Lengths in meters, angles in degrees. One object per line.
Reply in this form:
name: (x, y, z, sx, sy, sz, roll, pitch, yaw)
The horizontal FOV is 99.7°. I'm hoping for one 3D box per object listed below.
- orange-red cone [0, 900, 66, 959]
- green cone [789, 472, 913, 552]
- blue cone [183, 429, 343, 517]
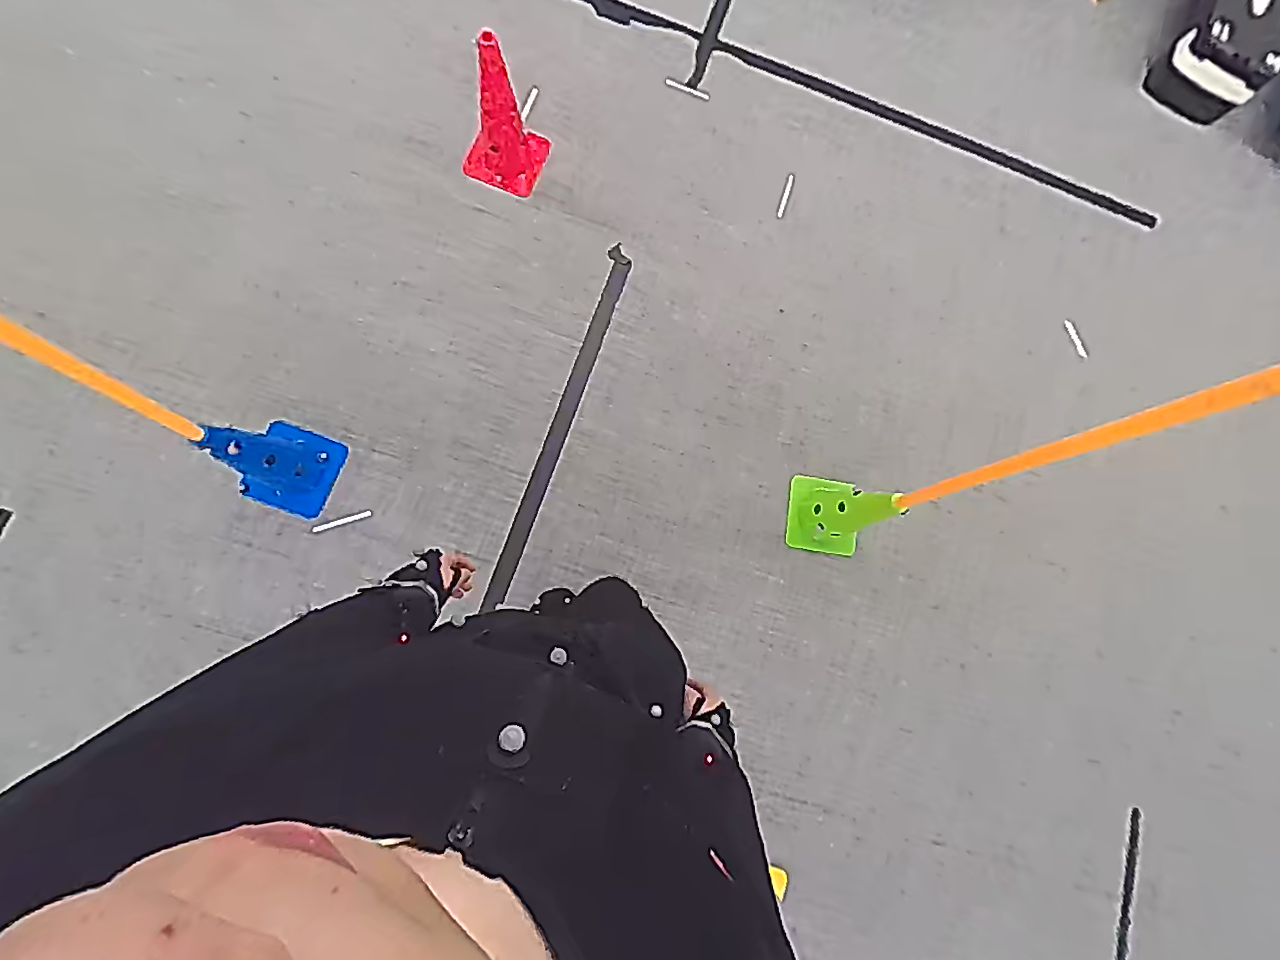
orange-red cone: (-1.279, 0.944, 0.934, 0.199, 0.360, 0.198, 14, 80, -6)
green cone: (0.527, 0.066, 1.302, 0.200, 0.368, 0.202, 9, 82, -5)
blue cone: (-0.827, -0.045, 1.162, 0.193, 0.380, 0.192, 22, 80, -3)
